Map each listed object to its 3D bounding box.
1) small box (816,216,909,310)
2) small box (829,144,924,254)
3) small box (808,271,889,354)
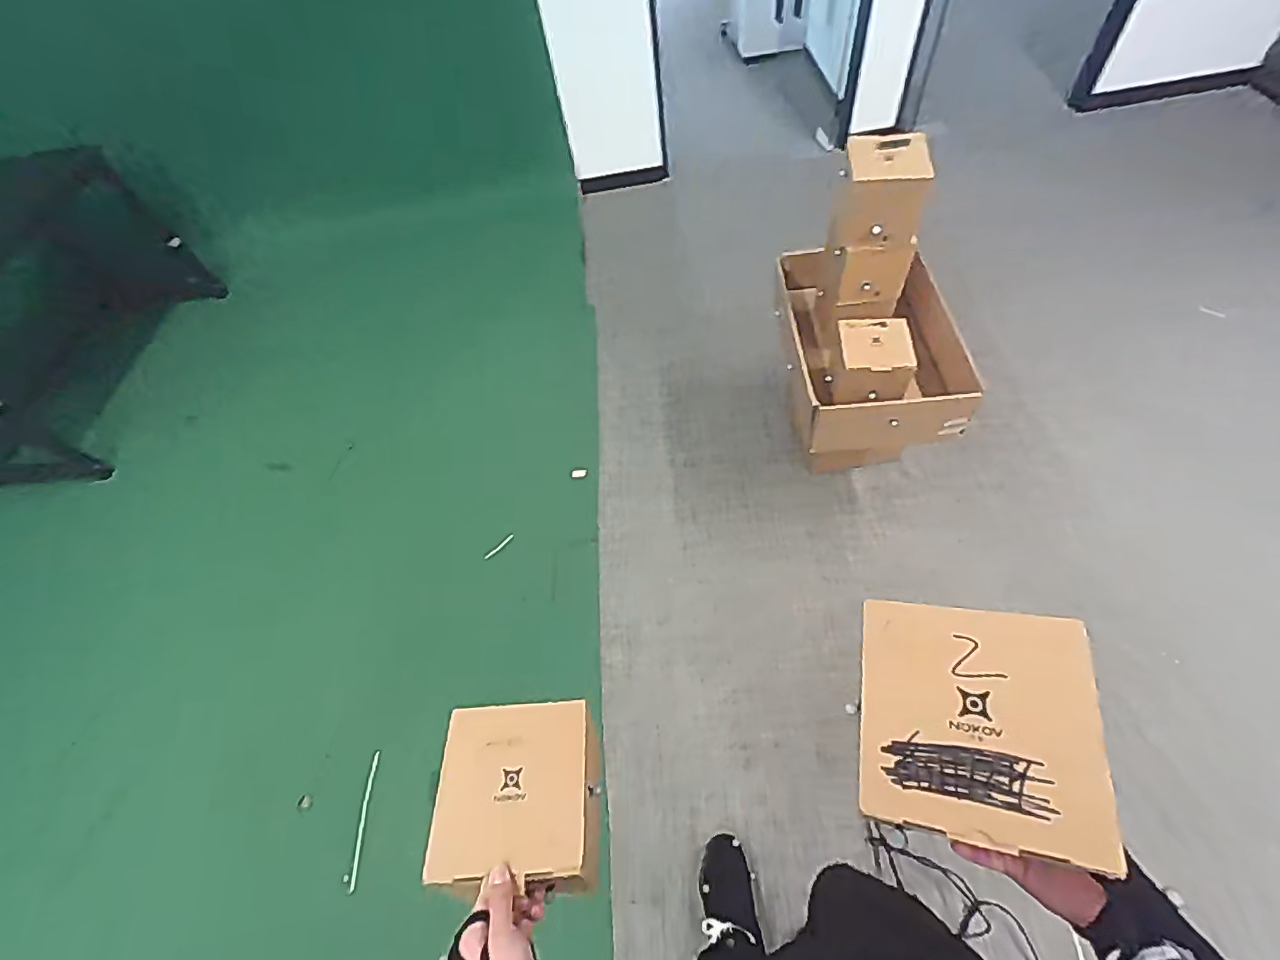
[{"bbox_3d":[0.572,-0.573,1.418,0.168,0.176,0.179,-5,58,4],"label":"small box"},{"bbox_3d":[0.549,-0.663,1.282,0.168,0.176,0.179,3,60,9],"label":"small box"},{"bbox_3d":[0.591,-0.490,1.556,0.168,0.176,0.179,-5,58,5],"label":"small box"}]
